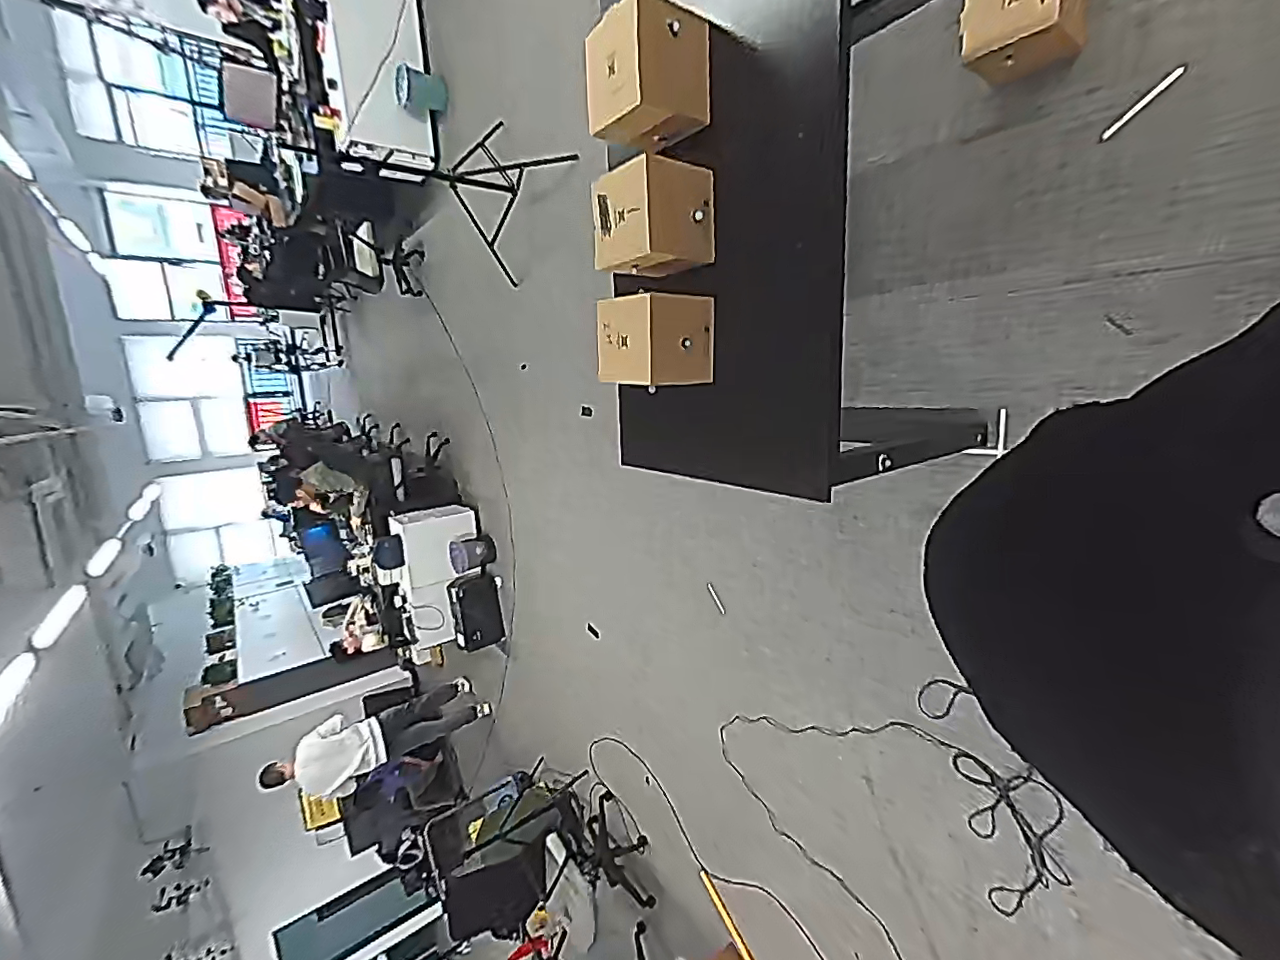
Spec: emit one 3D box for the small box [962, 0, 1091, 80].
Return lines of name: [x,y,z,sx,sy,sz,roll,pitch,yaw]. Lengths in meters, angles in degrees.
small box: [0.802,-0.974,1.121,0.179,0.176,0.168,11,108,52]

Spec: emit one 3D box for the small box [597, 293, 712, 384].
small box: [0.031,-0.286,1.099,0.179,0.176,0.168,17,111,51]

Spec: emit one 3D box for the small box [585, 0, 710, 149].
small box: [0.016,-0.749,1.005,0.168,0.176,0.179,13,110,53]

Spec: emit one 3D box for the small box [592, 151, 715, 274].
small box: [0.025,-0.505,1.051,0.179,0.176,0.168,11,108,51]
